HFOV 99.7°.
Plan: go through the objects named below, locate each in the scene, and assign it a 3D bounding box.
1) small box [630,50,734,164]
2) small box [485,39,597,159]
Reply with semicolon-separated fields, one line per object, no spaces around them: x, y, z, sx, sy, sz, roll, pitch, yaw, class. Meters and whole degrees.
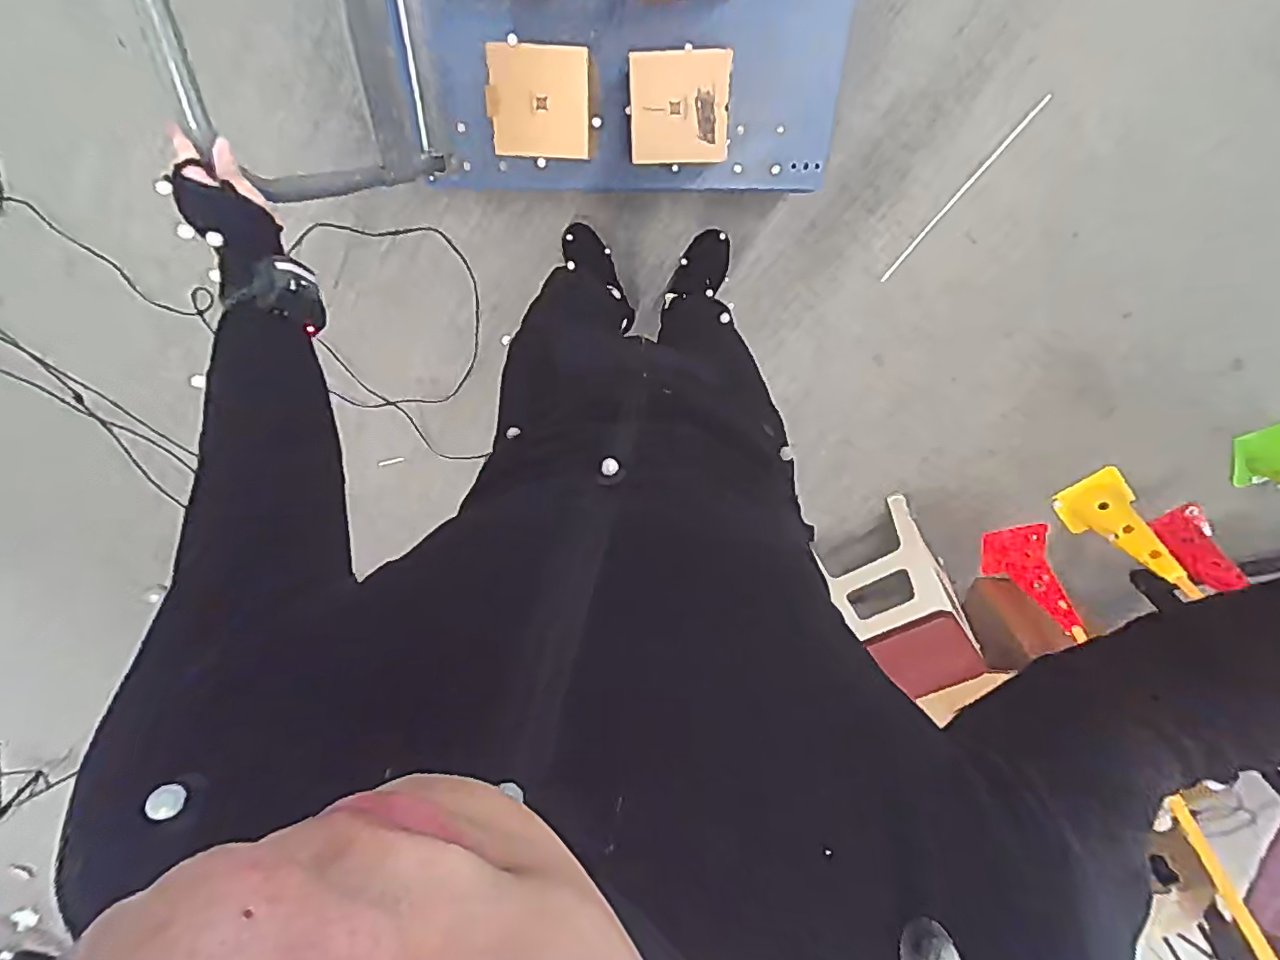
0.074;-0.691;1.010;0.179;0.176;0.168;2;122;3;small box
-0.175;-0.708;1.015;0.179;0.176;0.168;4;122;1;small box
